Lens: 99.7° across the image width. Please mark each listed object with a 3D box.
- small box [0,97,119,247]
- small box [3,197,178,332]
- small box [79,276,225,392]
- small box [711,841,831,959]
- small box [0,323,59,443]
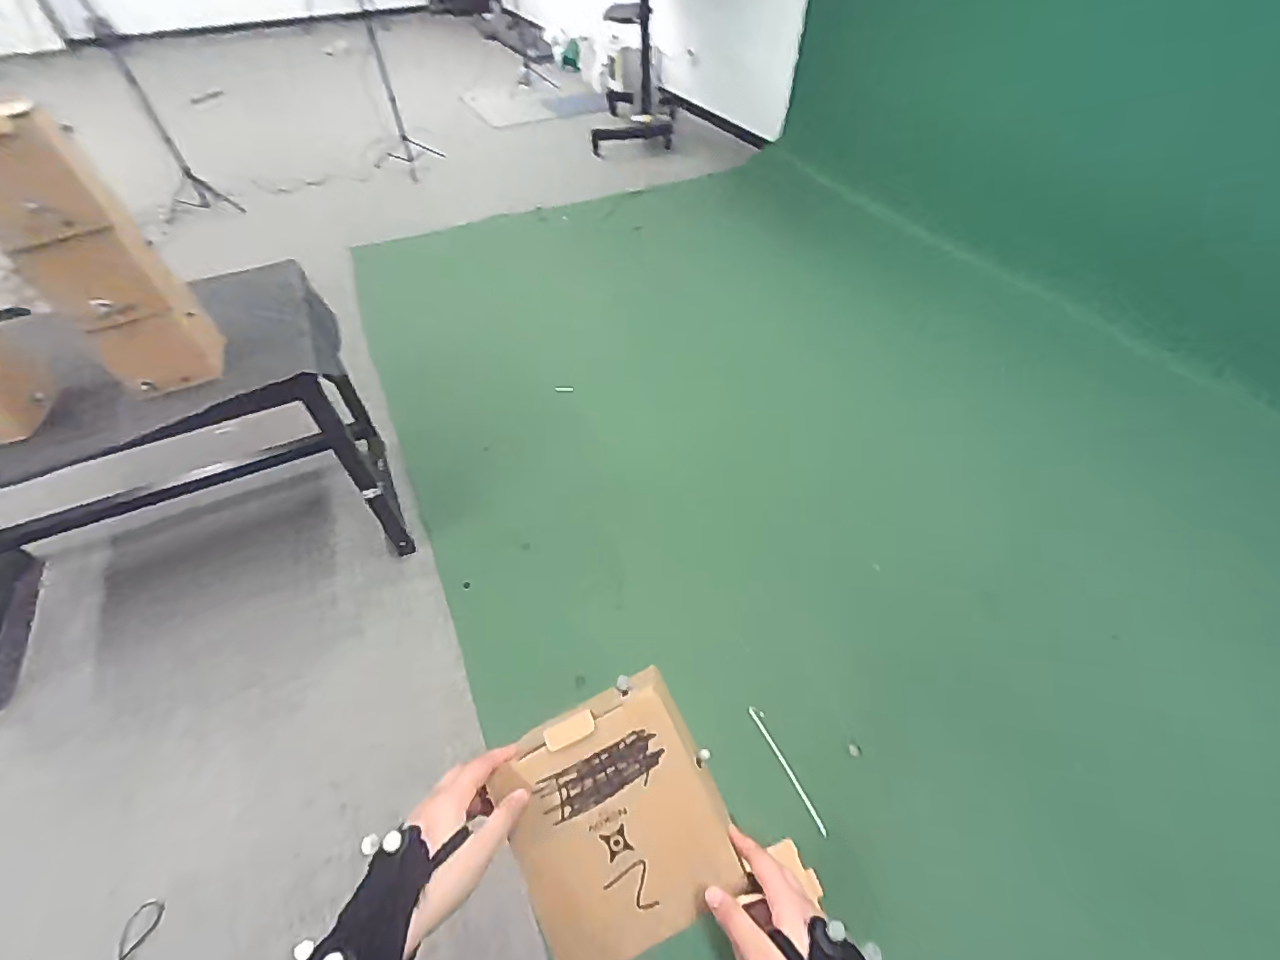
[{"bbox_3d":[-1.038,-0.521,0.915,0.168,0.176,0.179,-28,52,-19],"label":"small box"},{"bbox_3d":[-1.038,-0.414,1.042,0.168,0.176,0.179,-25,52,-18],"label":"small box"},{"bbox_3d":[-1.033,-0.308,1.164,0.168,0.176,0.179,-21,49,-16],"label":"small box"},{"bbox_3d":[0.253,0.869,1.098,0.179,0.176,0.168,-14,51,-12],"label":"small box"},{"bbox_3d":[-1.318,-0.180,1.060,0.168,0.176,0.179,-15,48,-11],"label":"small box"}]
